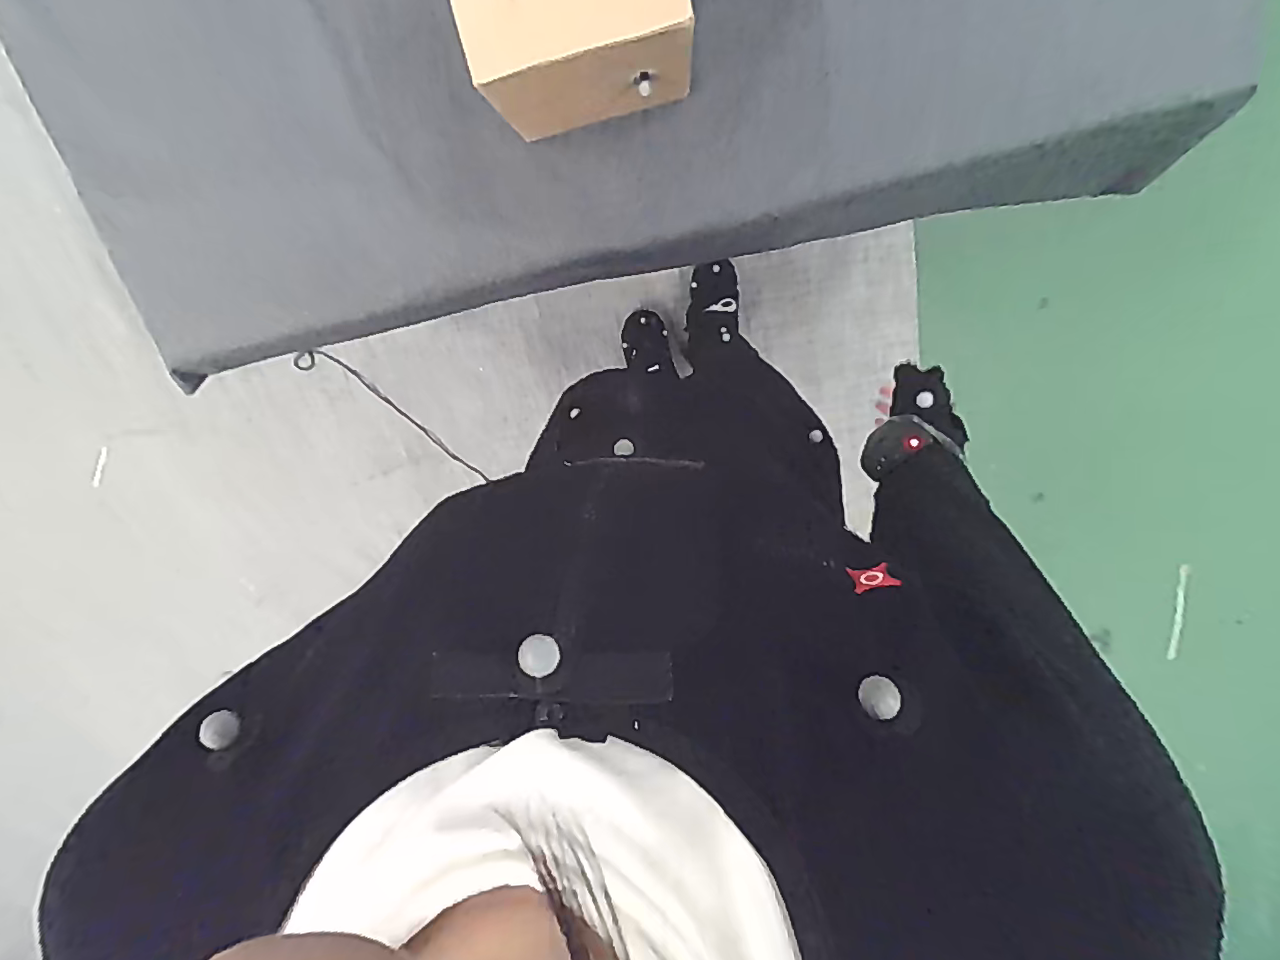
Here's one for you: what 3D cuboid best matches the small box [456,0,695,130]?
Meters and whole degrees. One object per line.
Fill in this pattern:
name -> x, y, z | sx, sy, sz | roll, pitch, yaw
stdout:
small box -> -0.057, -0.431, 0.460 | 0.179, 0.176, 0.168 | -12, 108, 8
